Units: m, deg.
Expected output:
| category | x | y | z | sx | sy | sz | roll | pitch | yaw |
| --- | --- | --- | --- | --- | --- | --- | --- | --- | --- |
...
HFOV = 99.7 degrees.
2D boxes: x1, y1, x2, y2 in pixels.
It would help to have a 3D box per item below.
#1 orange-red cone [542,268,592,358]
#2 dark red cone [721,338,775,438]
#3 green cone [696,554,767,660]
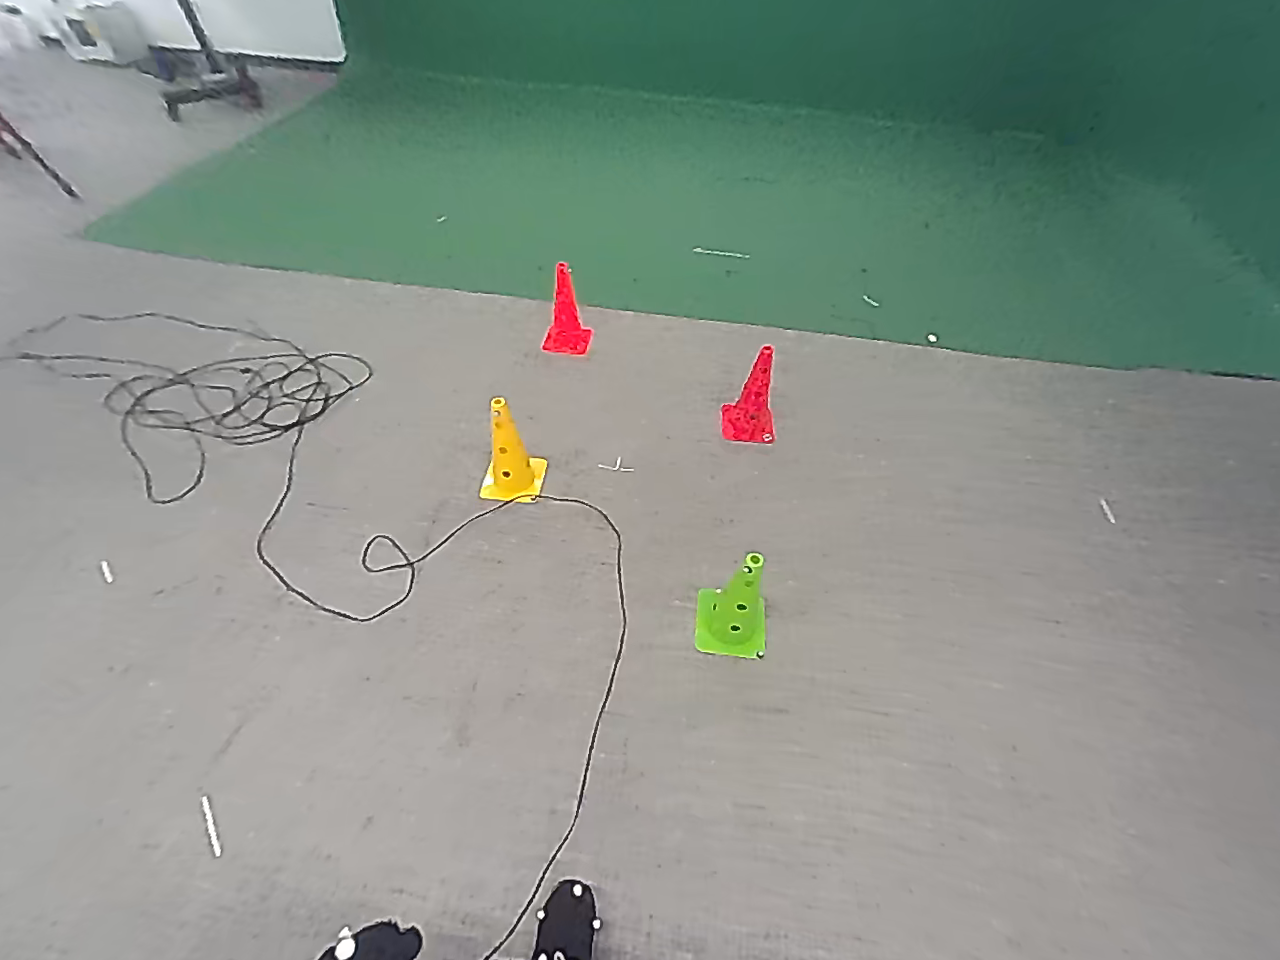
| category | x | y | z | sx | sy | sz | roll | pitch | yaw |
| --- | --- | --- | --- | --- | --- | --- | --- | --- | --- |
| orange-red cone | -0.320 | -0.721 | 2.284 | 0.198 | 0.360 | 0.199 | 7 | 51 | 5 |
| dark red cone | 0.423 | -0.339 | 1.968 | 0.202 | 0.394 | 0.201 | 4 | 48 | 0 |
| green cone | 0.270 | 0.308 | 1.443 | 0.202 | 0.368 | 0.200 | 6 | 49 | 4 |
